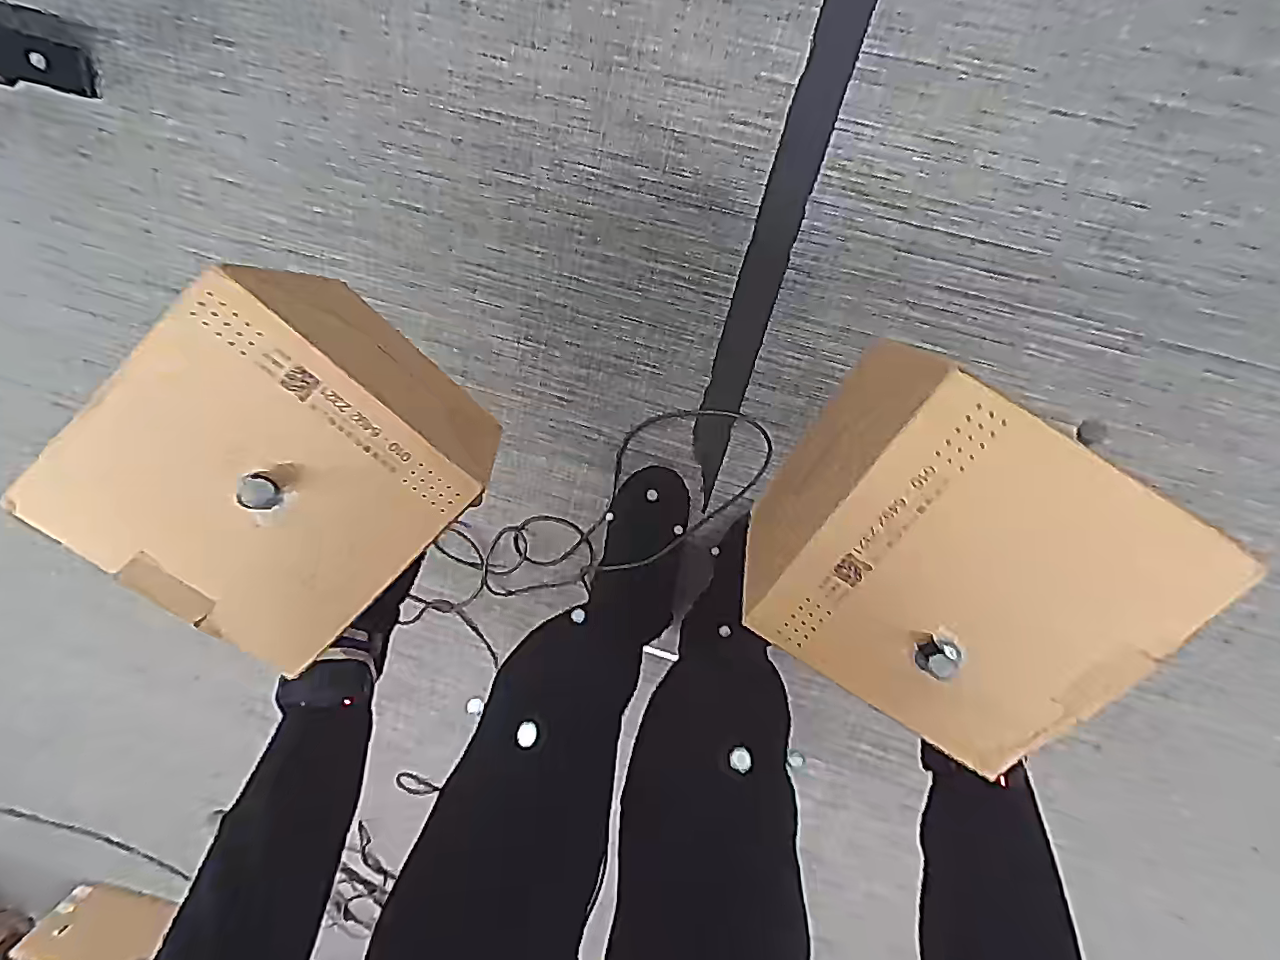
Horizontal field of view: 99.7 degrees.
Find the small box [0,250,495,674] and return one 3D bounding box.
[{"bbox_3d":[-0.213,-0.024,0.347,0.176,0.179,0.168,-44,110,4],"label":"small box"}]
